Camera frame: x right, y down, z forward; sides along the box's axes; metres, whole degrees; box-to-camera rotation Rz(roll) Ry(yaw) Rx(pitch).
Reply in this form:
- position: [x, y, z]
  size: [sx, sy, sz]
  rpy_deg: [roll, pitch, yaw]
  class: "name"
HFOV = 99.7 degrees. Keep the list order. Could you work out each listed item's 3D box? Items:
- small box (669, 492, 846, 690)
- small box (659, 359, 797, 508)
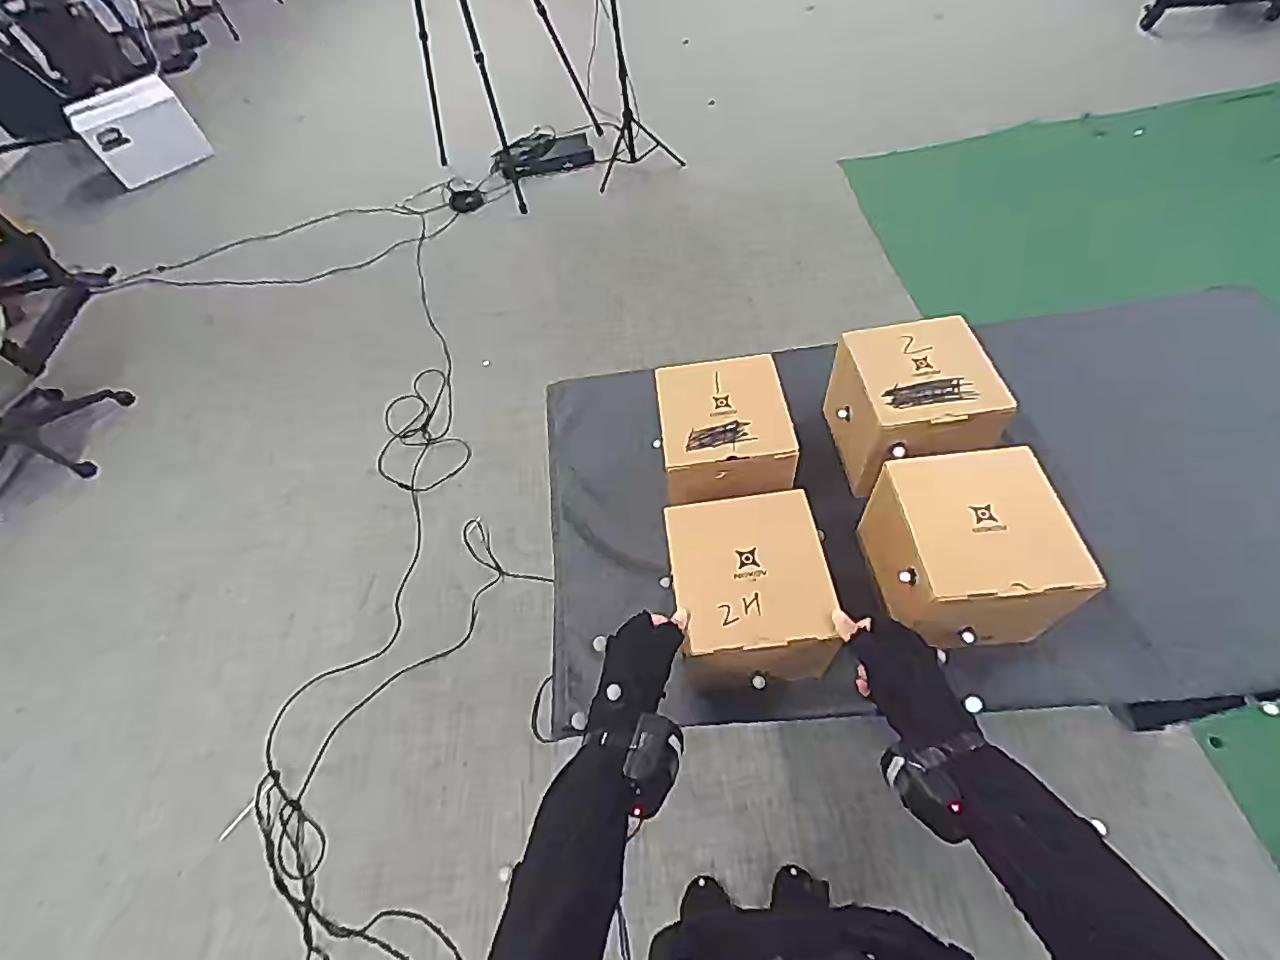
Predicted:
- position: [0.129, 0.139, 0.656]
  size: [0.168, 0.176, 0.179]
  rpy_deg: [-8, 57, 3]
  class: "small box"
- position: [0.121, -0.045, 0.782]
  size: [0.168, 0.176, 0.179]
  rpy_deg: [-7, 55, 4]
  class: "small box"
